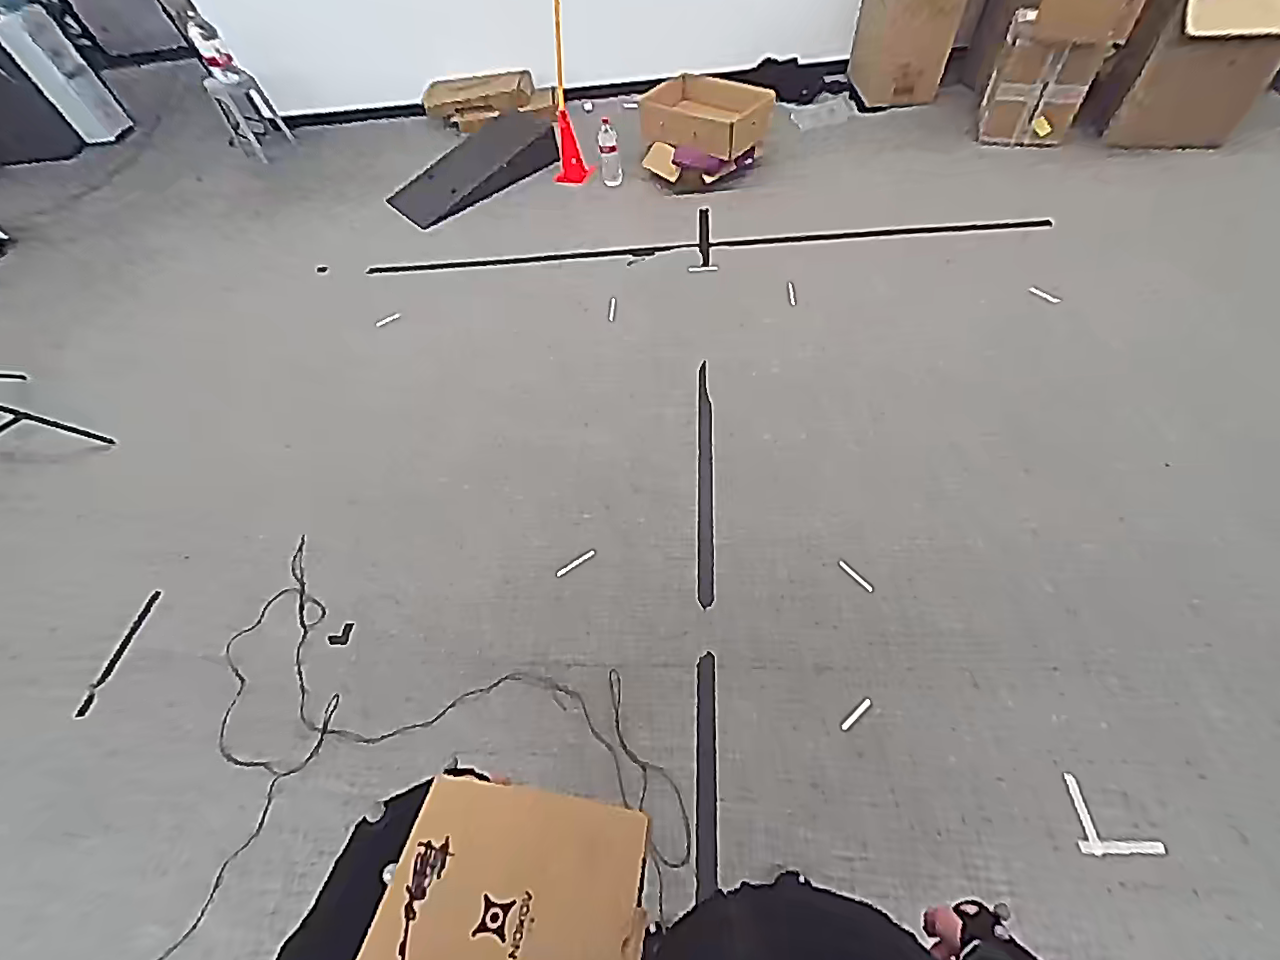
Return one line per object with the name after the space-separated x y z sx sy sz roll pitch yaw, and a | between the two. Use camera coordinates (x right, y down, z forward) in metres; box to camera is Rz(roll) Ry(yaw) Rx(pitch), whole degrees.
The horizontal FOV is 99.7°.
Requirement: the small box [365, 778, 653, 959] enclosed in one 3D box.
-0.093 0.365 0.416 0.179 0.176 0.168 9 38 4 | small box
